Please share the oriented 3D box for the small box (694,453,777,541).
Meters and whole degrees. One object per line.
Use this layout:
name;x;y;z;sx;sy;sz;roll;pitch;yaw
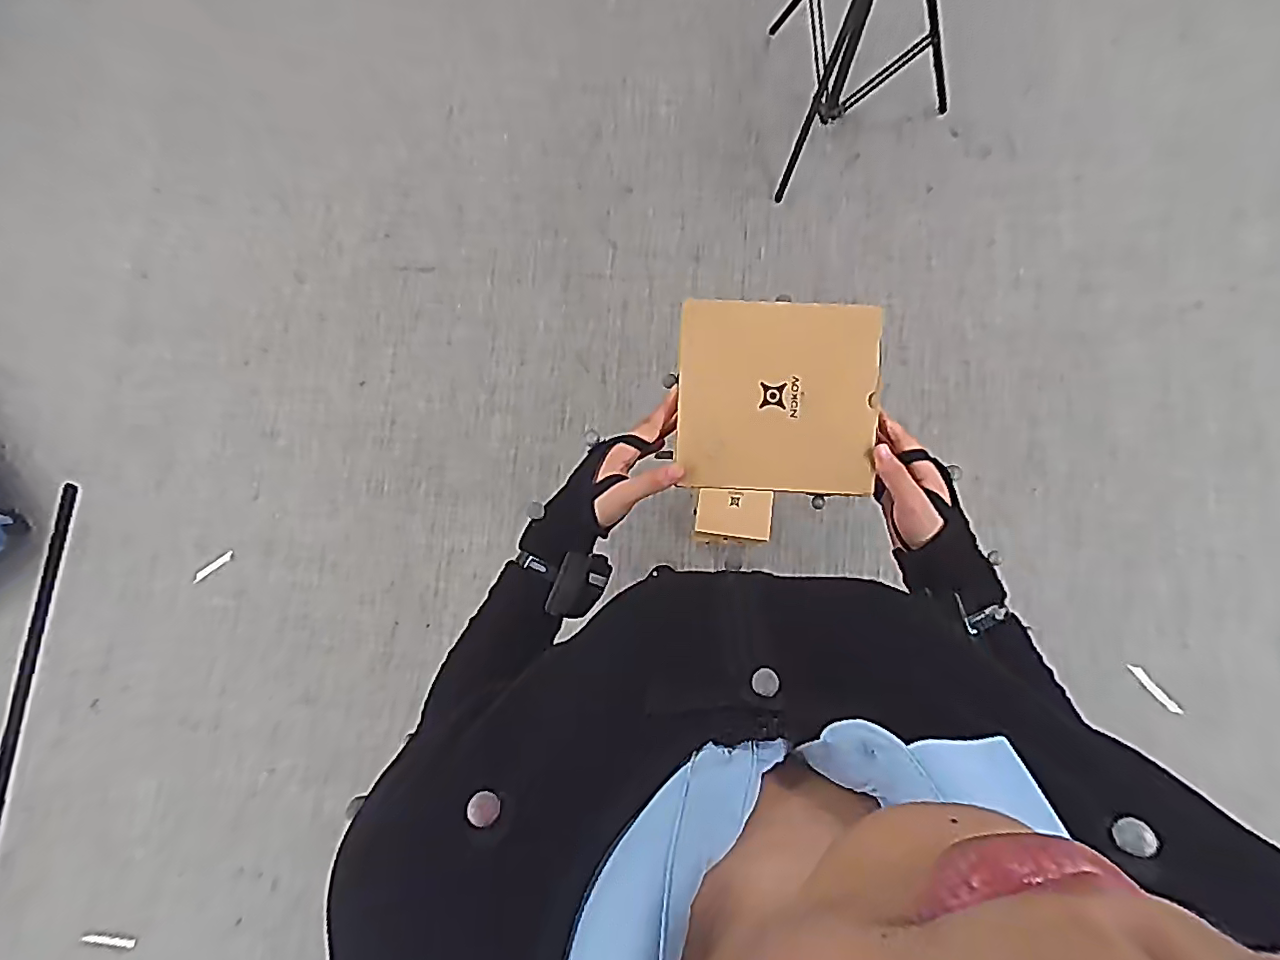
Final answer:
small box;0.221;0.047;1.284;0.168;0.176;0.179;8;81;5
